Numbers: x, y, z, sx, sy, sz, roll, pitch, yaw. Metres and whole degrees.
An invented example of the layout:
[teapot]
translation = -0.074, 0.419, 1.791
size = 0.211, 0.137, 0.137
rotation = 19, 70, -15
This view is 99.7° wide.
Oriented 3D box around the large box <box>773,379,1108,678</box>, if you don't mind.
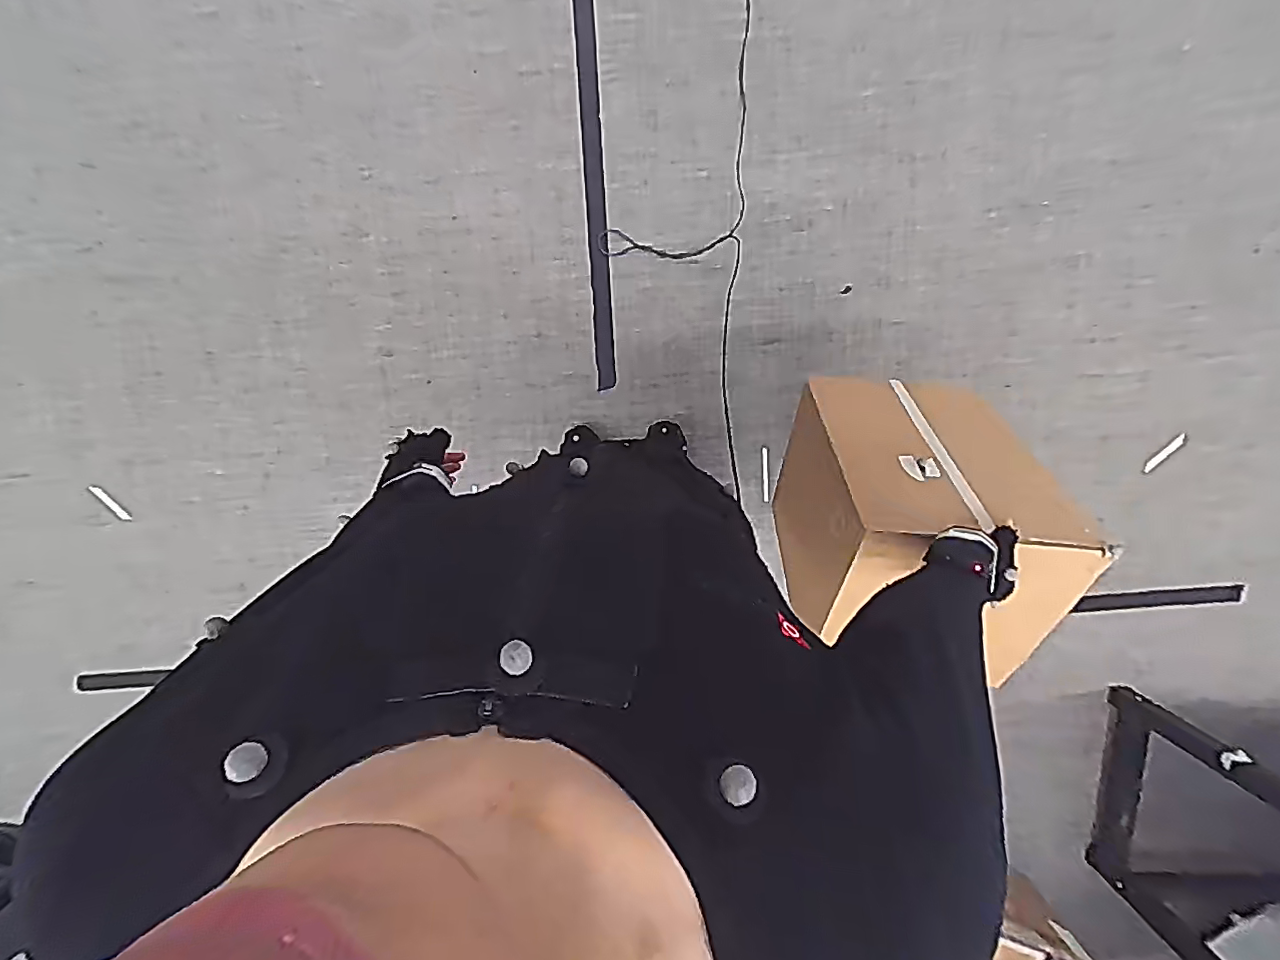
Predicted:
[large box]
translation = 0.440, 0.070, 0.928
size = 0.320, 0.408, 0.320
rotation = 4, 131, 0
